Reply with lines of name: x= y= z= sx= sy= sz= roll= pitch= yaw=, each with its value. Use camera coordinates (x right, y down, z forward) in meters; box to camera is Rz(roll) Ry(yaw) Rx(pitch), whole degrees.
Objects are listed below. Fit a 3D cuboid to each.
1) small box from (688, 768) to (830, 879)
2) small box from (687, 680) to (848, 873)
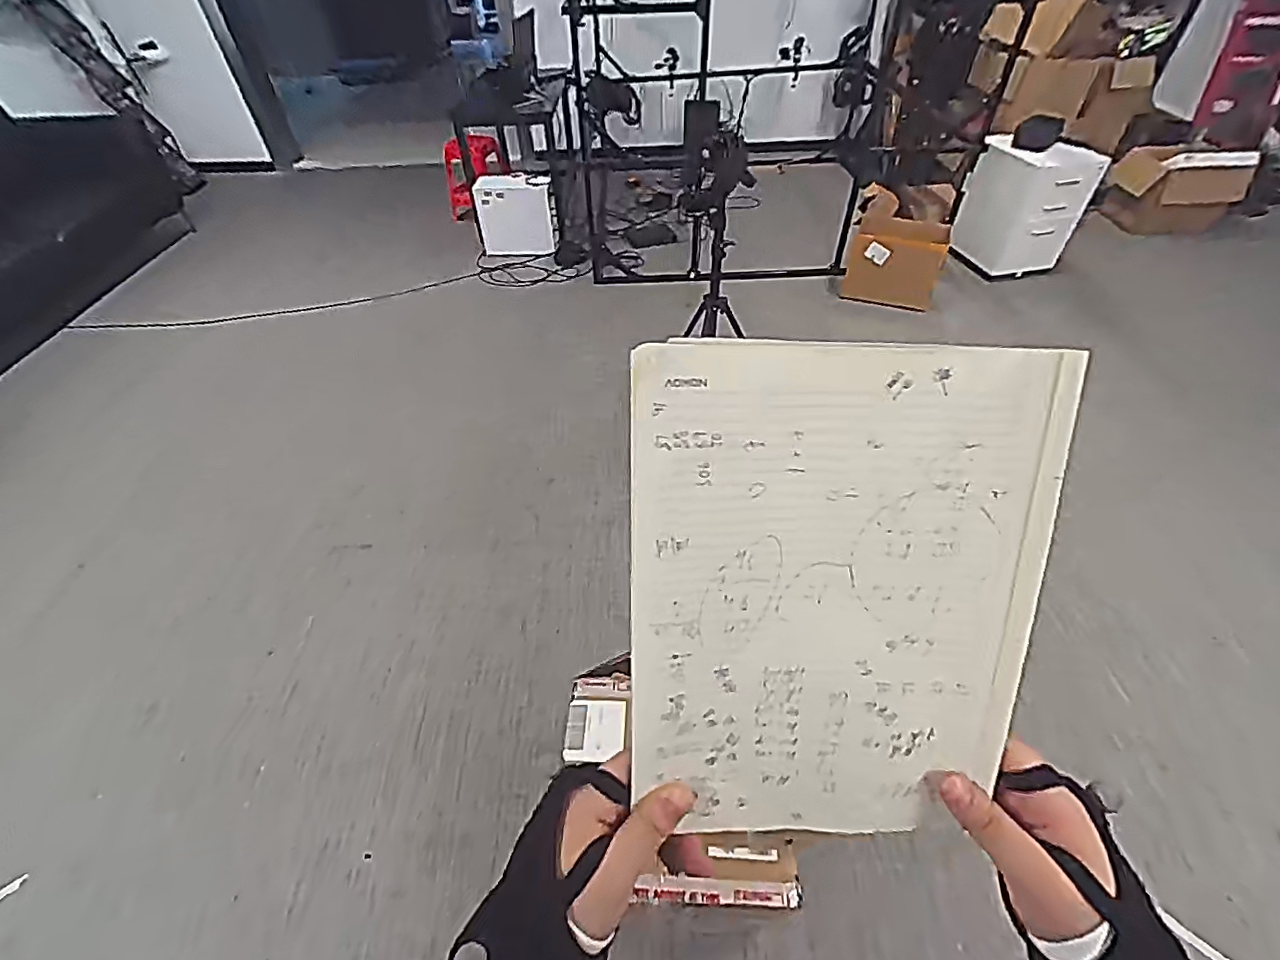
small box: x=0.169 y=0.498 z=0.827 sx=0.179 sy=0.176 sz=0.168 roll=2 pitch=47 yaw=1
small box: x=0.152 y=0.387 z=0.705 sx=0.168 sy=0.176 sz=0.179 roll=5 pitch=48 yaw=3
